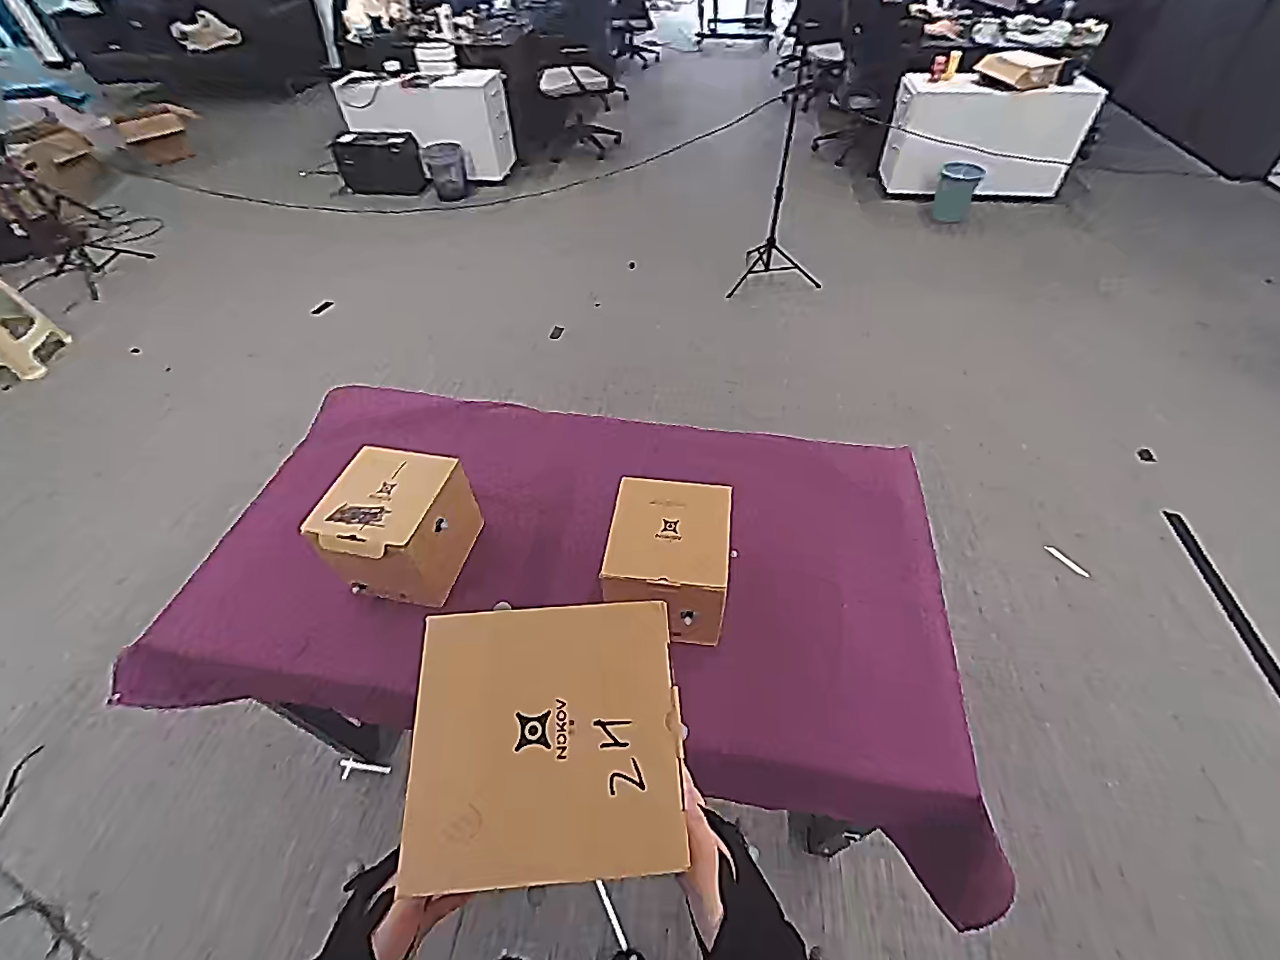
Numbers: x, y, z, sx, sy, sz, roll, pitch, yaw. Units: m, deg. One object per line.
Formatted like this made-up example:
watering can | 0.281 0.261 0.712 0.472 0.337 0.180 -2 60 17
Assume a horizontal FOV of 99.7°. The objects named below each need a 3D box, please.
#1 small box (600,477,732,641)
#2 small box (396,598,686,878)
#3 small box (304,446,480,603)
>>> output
small box | 0.043 0.121 0.806 0.168 0.176 0.179 6 49 6
small box | -0.062 0.200 0.428 0.179 0.176 0.168 -2 62 -3
small box | -0.374 0.073 0.858 0.168 0.176 0.179 8 49 9
